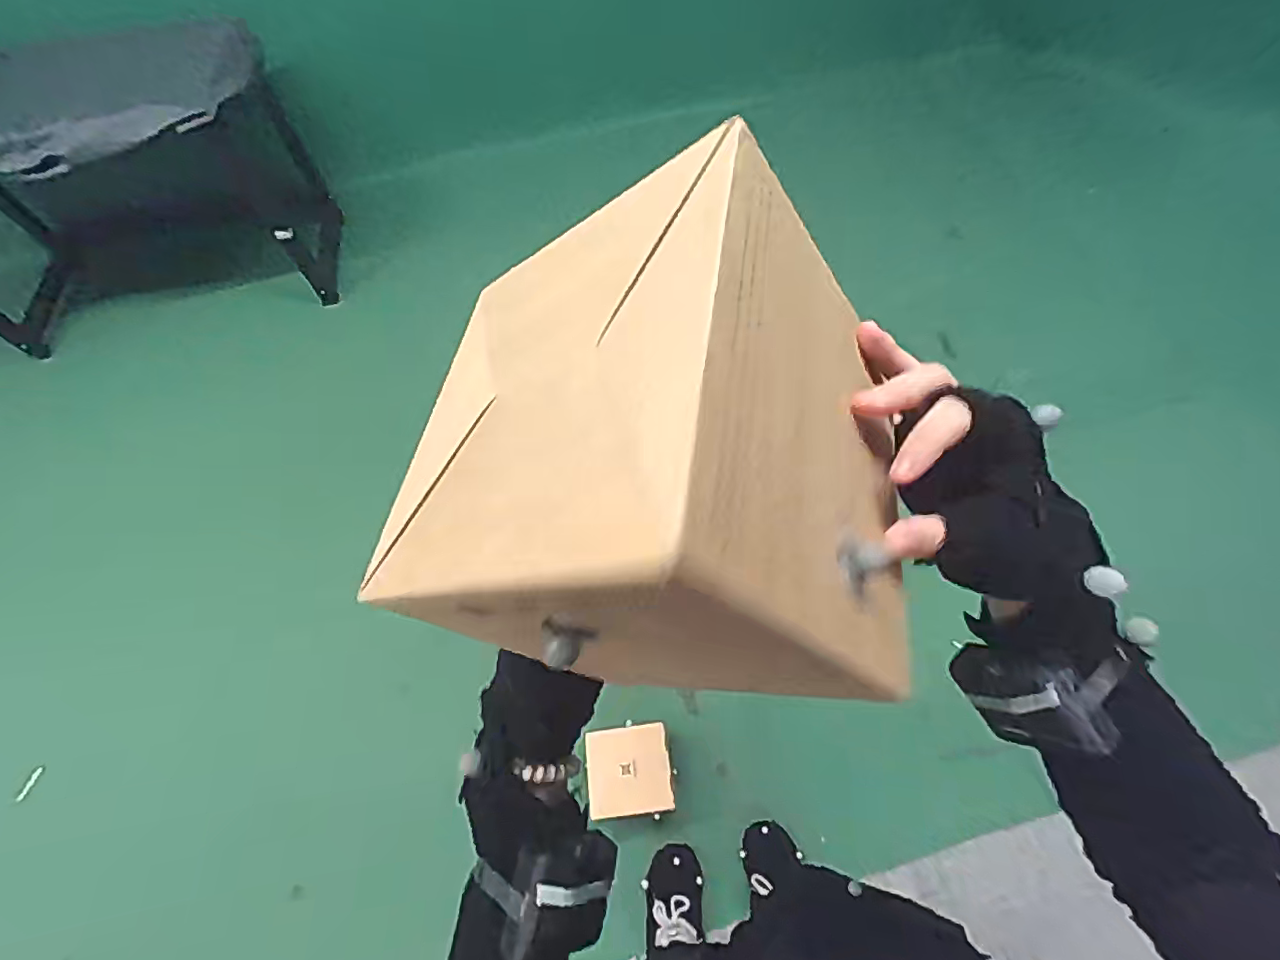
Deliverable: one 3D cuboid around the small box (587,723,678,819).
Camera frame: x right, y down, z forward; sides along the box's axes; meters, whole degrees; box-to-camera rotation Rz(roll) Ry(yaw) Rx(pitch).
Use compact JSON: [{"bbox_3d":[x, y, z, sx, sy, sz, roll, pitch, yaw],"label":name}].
[{"bbox_3d":[-0.014,0.651,1.204,0.179,0.176,0.168,-8,59,0],"label":"small box"}]
